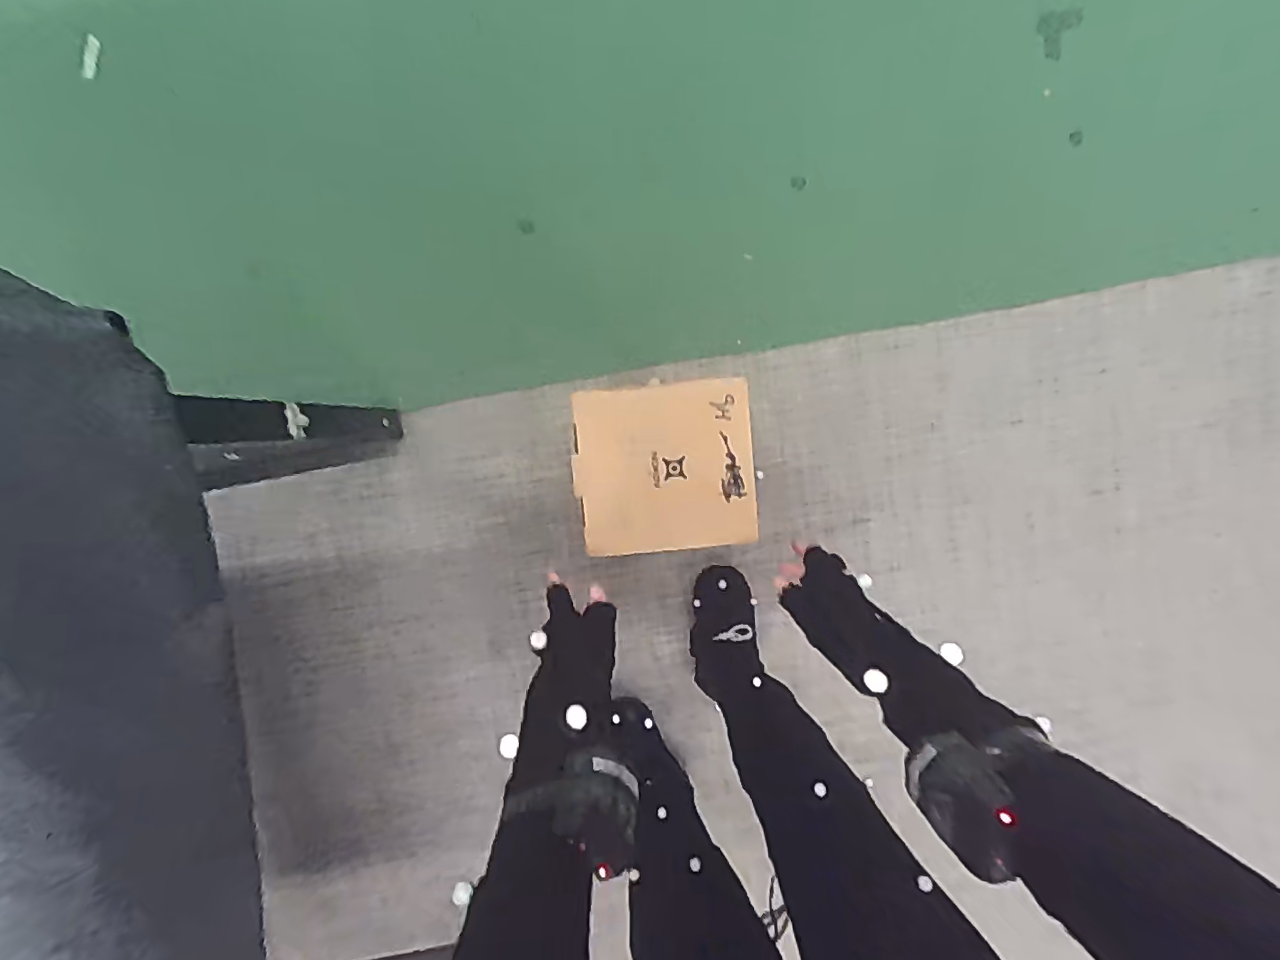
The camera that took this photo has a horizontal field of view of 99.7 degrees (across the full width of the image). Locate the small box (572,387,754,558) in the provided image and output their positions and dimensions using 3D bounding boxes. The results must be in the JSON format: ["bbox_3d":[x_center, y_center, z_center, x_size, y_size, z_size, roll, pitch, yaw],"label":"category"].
[{"bbox_3d":[0.027,-0.012,0.618,0.179,0.176,0.168,-4,95,3],"label":"small box"}]
